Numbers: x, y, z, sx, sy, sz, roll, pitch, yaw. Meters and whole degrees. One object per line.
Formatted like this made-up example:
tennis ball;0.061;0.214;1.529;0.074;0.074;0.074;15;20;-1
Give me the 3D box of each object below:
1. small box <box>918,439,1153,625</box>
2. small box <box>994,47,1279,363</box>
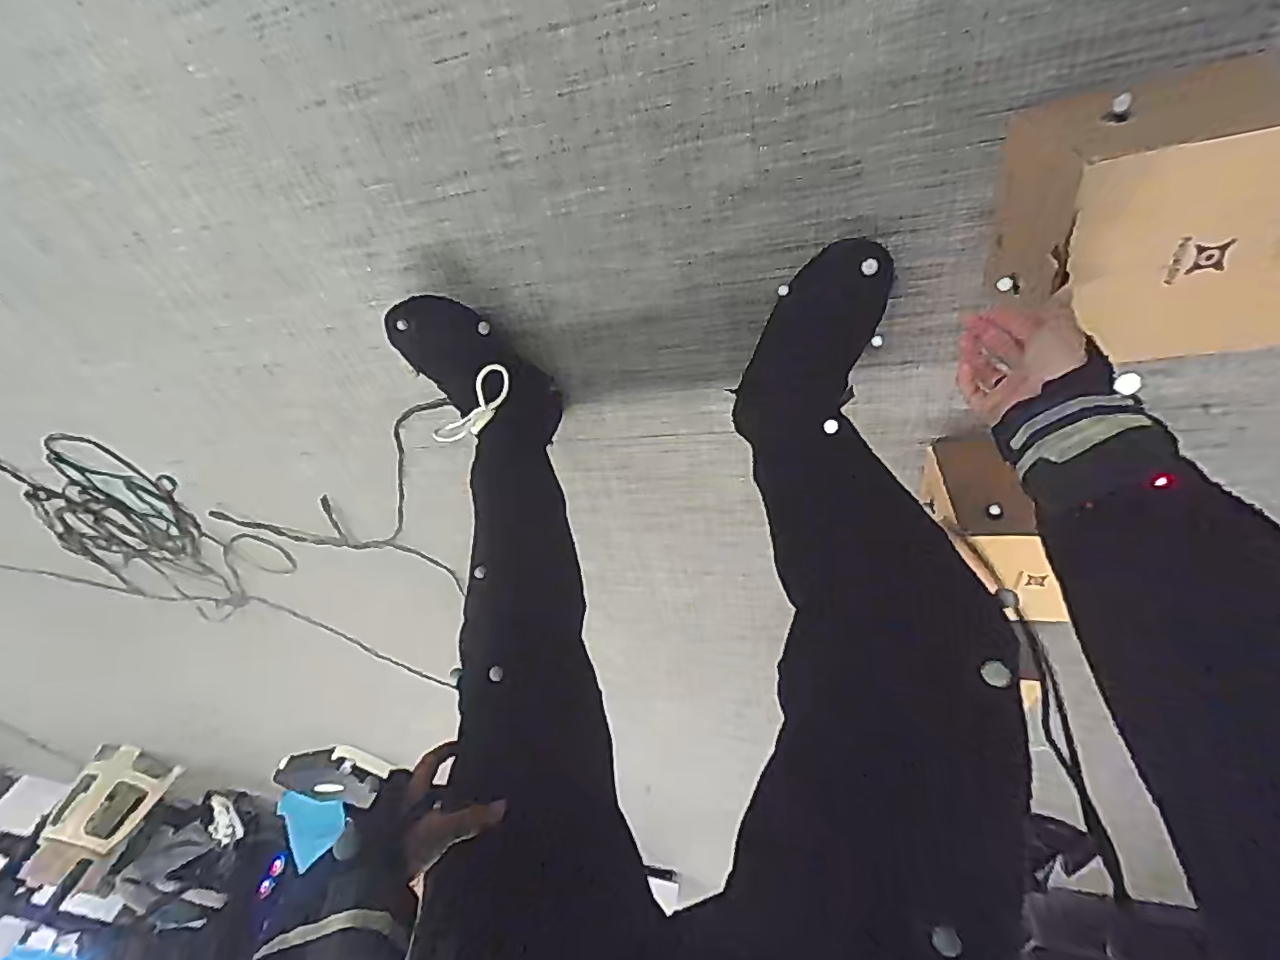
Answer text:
small box;0.468;0.062;0.678;0.179;0.176;0.168;-1;133;17
small box;0.411;-0.216;0.432;0.179;0.176;0.168;-4;132;17
